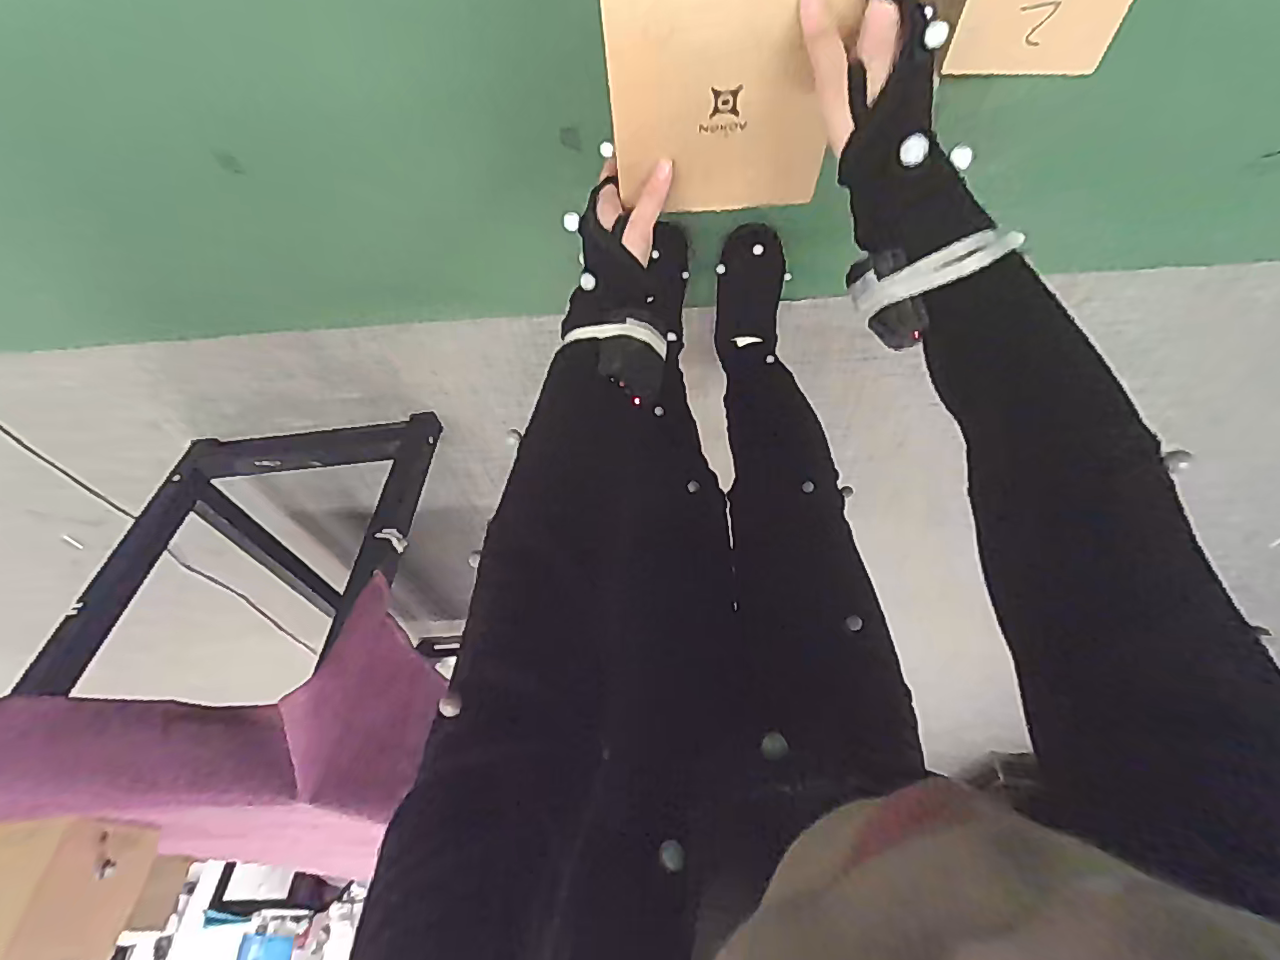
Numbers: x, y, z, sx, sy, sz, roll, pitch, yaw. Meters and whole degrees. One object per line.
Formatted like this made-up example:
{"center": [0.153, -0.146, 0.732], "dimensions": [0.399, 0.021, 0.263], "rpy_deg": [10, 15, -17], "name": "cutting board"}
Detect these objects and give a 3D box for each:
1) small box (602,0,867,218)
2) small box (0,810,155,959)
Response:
{"center": [0.058, -0.340, 0.419], "dimensions": [0.168, 0.176, 0.179], "rpy_deg": [-3, 160, 3], "name": "small box"}
{"center": [-0.857, 0.577, 0.759], "dimensions": [0.179, 0.176, 0.168], "rpy_deg": [-6, 141, 2], "name": "small box"}
